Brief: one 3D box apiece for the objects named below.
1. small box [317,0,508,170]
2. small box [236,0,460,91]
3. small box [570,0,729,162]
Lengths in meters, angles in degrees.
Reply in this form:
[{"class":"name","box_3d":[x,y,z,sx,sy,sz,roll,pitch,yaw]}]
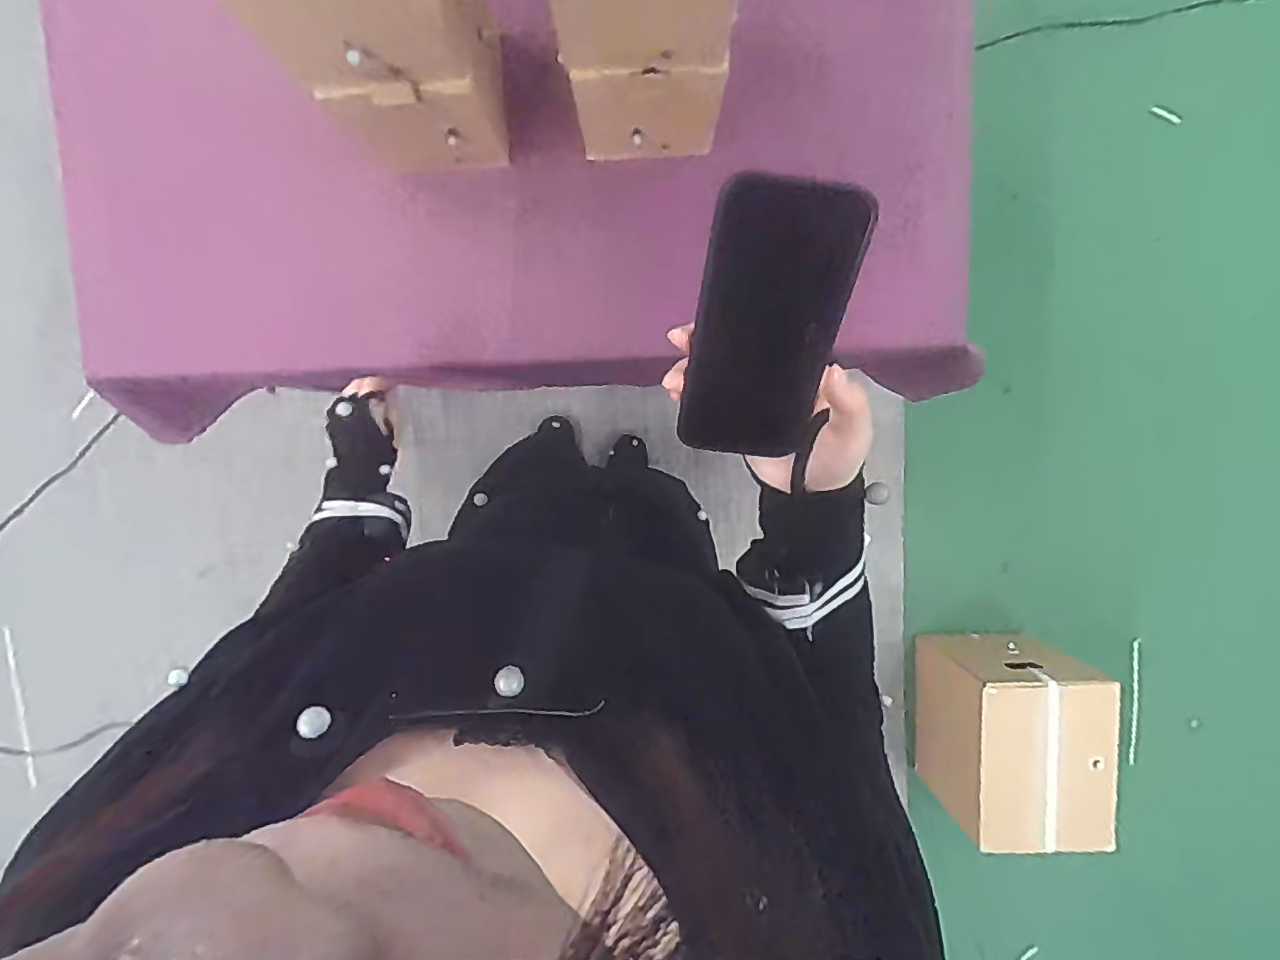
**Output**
[{"class":"small box","box_3d":[-0.257,-0.486,0.634,0.168,0.176,0.179,-2,94,0]},{"class":"small box","box_3d":[-0.267,-0.483,0.469,0.168,0.176,0.179,-3,95,0]},{"class":"small box","box_3d":[0.008,-0.505,0.632,0.168,0.176,0.179,-2,95,0]}]
